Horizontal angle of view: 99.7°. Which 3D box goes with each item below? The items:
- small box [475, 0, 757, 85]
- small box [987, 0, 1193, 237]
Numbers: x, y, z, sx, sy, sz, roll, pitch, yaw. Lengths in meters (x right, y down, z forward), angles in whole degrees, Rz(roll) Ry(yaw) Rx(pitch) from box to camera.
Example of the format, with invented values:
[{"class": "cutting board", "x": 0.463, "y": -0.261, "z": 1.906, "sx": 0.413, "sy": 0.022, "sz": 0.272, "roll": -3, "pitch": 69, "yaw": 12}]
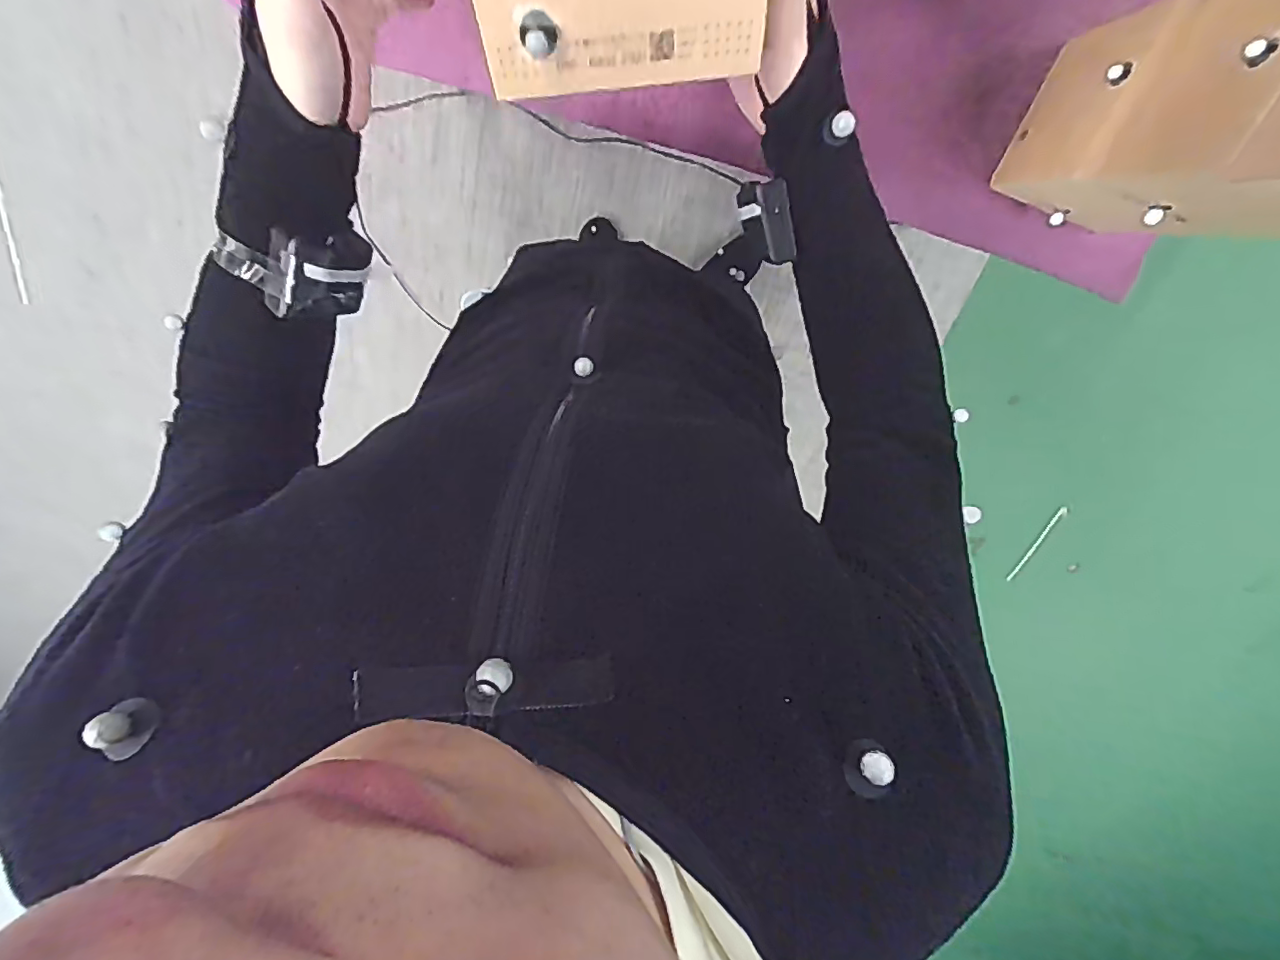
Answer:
[{"class": "small box", "x": -0.020, "y": -0.358, "z": 0.315, "sx": 0.168, "sy": 0.179, "sz": 0.176, "roll": -5, "pitch": 148, "yaw": 0}, {"class": "small box", "x": 0.560, "y": -0.398, "z": 0.623, "sx": 0.179, "sy": 0.176, "sz": 0.168, "roll": 18, "pitch": 115, "yaw": -7}]
